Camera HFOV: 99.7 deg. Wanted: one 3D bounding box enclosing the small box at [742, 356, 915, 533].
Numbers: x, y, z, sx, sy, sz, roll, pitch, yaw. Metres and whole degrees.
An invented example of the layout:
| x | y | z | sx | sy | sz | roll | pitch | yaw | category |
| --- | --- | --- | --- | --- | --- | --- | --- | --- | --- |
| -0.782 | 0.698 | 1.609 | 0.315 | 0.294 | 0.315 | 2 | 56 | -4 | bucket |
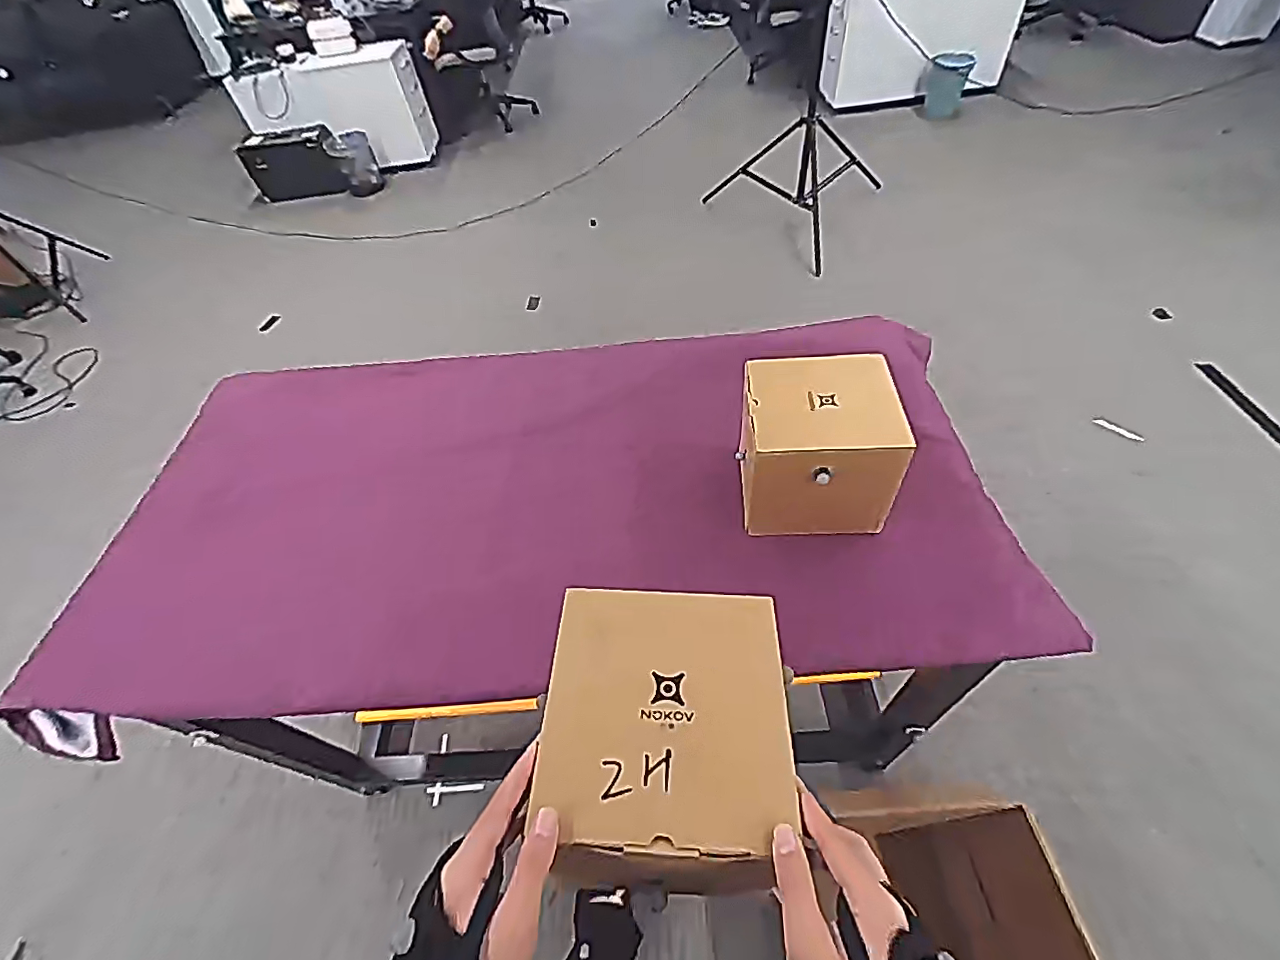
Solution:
| x | y | z | sx | sy | sz | roll | pitch | yaw | category |
| --- | --- | --- | --- | --- | --- | --- | --- | --- | --- |
| 0.229 | -0.042 | 0.711 | 0.179 | 0.176 | 0.168 | -2 | 50 | 7 | small box |

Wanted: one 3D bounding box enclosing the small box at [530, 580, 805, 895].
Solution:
| x | y | z | sx | sy | sz | roll | pitch | yaw | category |
| --- | --- | --- | --- | --- | --- | --- | --- | --- | --- |
| 0.021 | 0.203 | 0.430 | 0.168 | 0.176 | 0.179 | 2 | 46 | 3 | small box |
